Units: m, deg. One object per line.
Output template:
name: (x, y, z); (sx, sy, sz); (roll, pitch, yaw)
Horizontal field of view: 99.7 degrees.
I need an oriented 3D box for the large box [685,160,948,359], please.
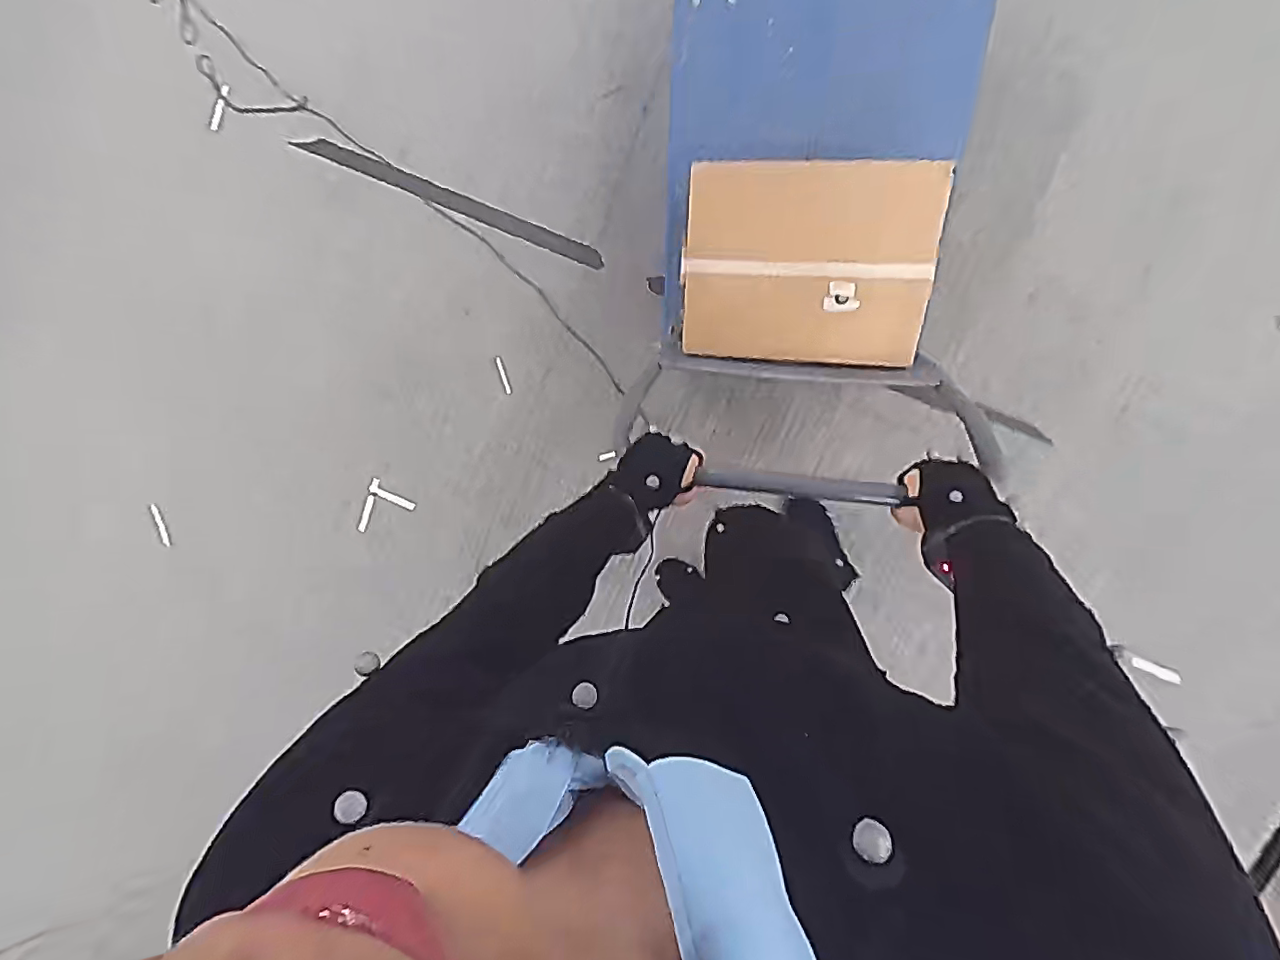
large box: (0.308, -0.427, 1.063); (0.408, 0.320, 0.320); (6, 114, 10)
